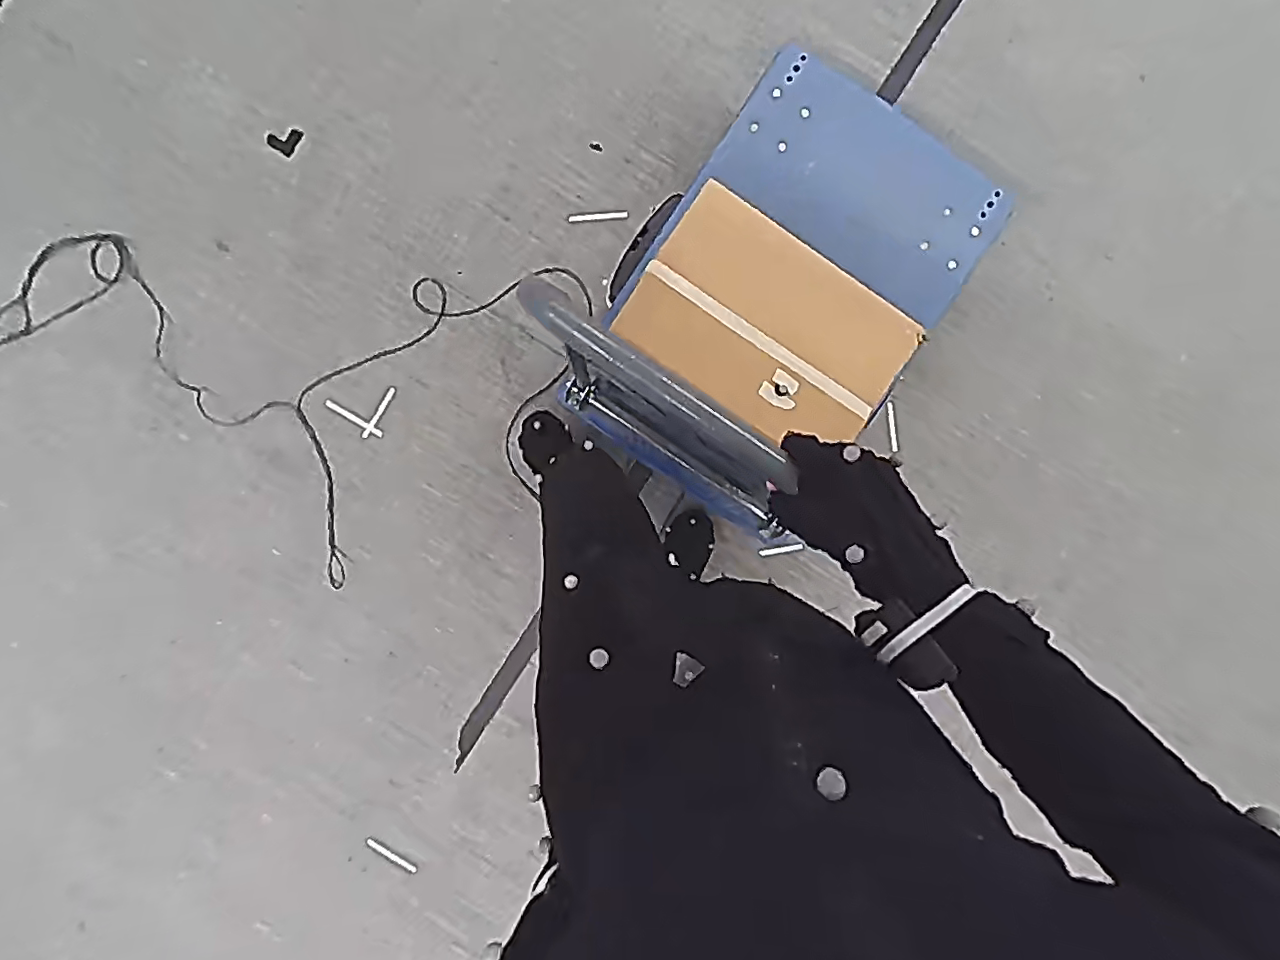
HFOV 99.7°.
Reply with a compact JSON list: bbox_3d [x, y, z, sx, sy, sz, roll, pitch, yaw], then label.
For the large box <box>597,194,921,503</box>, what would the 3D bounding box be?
[{"bbox_3d":[0.175,-0.202,0.962,0.408,0.320,0.320,34,92,-3],"label":"large box"}]
